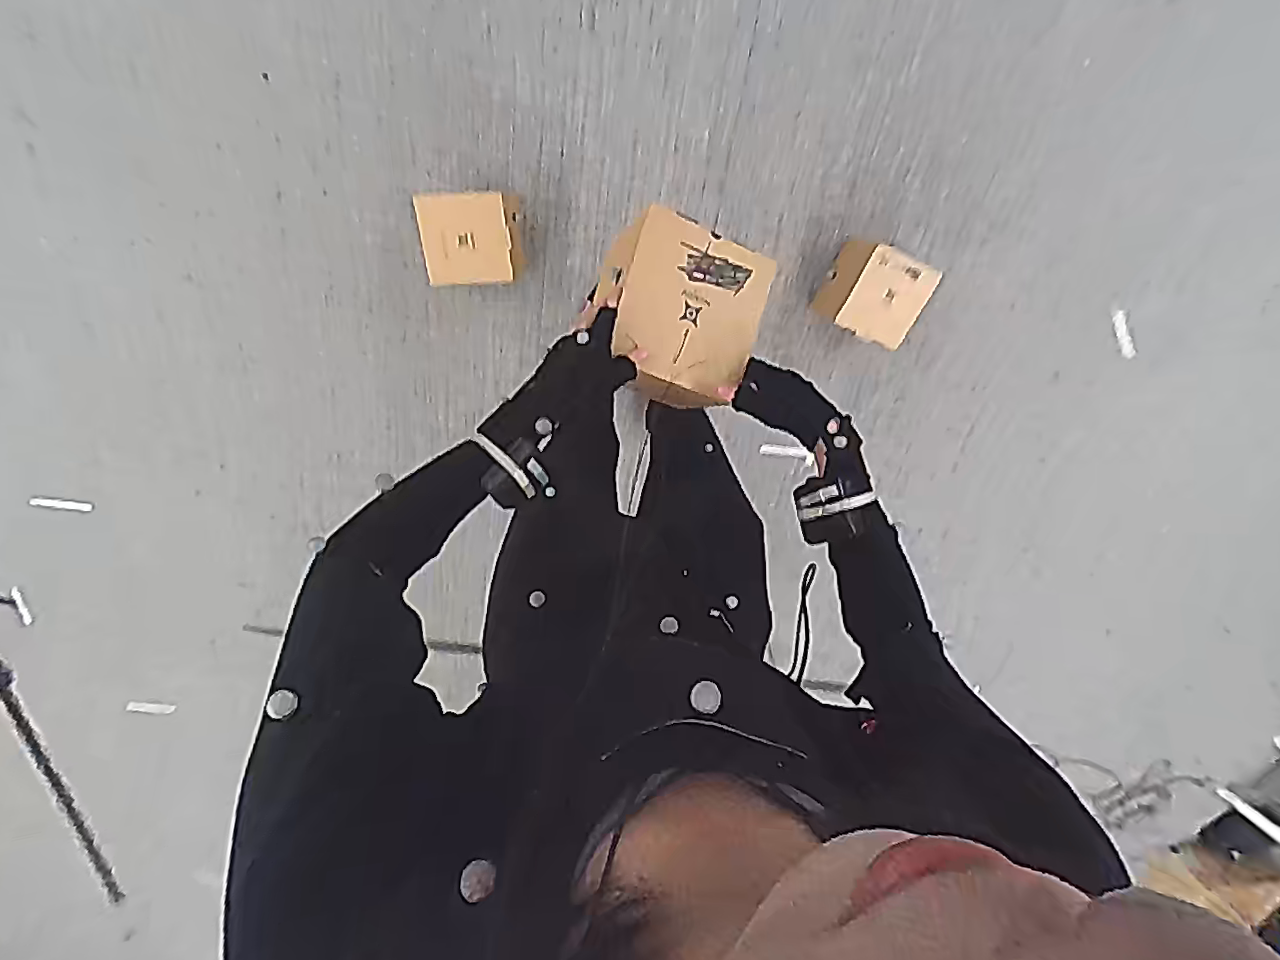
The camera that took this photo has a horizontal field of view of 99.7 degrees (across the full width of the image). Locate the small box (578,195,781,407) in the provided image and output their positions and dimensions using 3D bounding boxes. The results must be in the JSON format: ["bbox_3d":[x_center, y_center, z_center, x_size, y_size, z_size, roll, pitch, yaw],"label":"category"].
[{"bbox_3d":[0.036,-0.196,0.652,0.168,0.176,0.179,17,91,-19],"label":"small box"}]

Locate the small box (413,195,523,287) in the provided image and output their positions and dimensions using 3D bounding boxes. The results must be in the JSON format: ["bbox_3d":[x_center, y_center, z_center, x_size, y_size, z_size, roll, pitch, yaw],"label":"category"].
[{"bbox_3d":[-0.350,-0.506,1.140,0.179,0.176,0.168,-3,116,0],"label":"small box"}]

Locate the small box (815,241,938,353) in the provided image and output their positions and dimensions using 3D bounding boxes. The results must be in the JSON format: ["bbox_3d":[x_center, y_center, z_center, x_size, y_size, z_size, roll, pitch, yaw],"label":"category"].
[{"bbox_3d":[0.518,-0.417,1.221,0.168,0.176,0.179,20,115,-12],"label":"small box"}]
